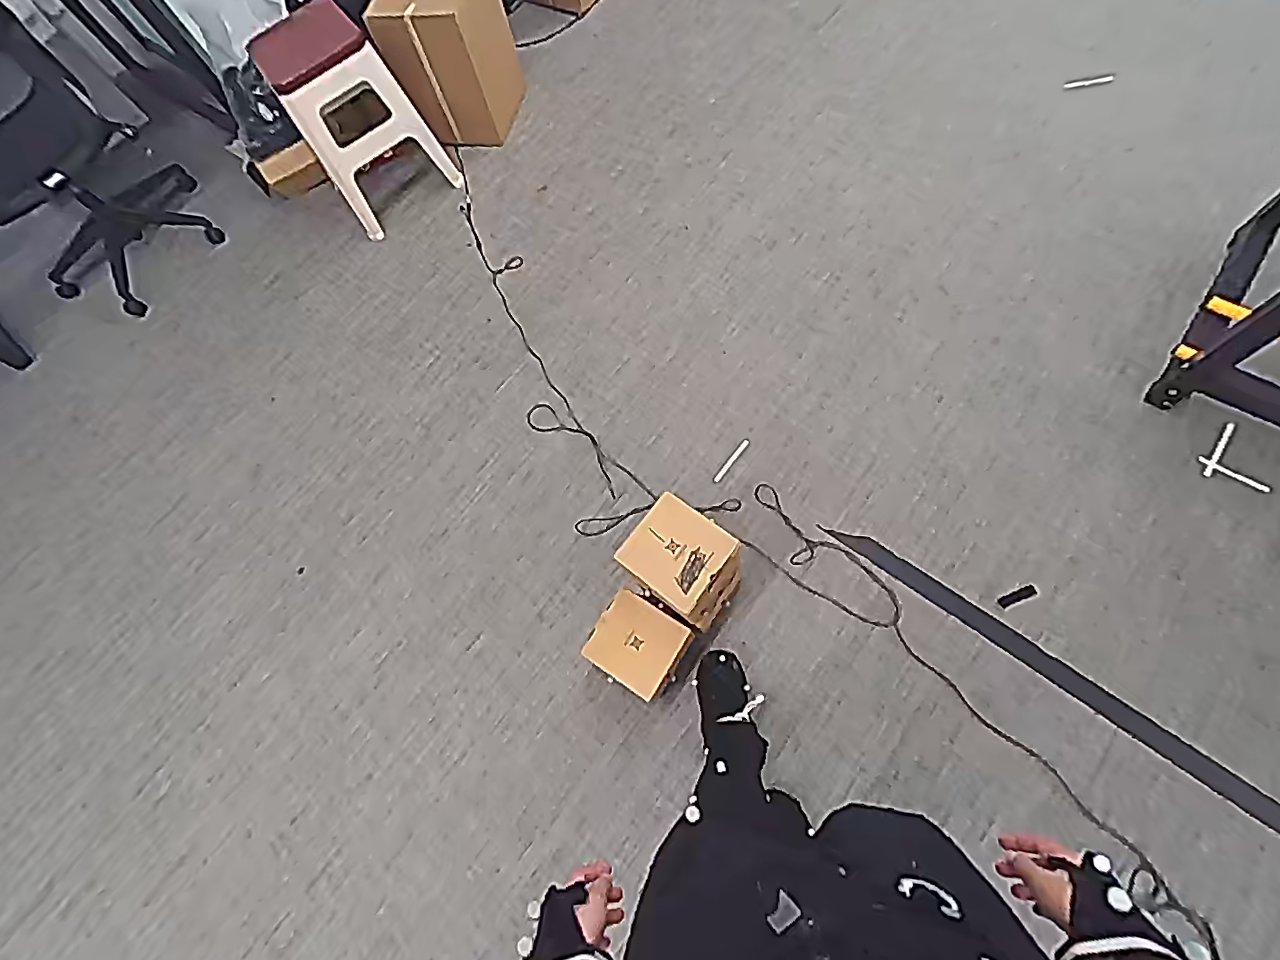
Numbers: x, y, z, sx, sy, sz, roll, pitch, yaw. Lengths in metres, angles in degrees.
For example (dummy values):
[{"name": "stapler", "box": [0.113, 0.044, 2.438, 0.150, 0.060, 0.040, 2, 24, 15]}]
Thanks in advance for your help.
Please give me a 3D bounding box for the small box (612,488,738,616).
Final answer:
[{"name": "small box", "box": [0.076, 0.149, 1.054, 0.179, 0.176, 0.168, 35, 79, 20]}]
